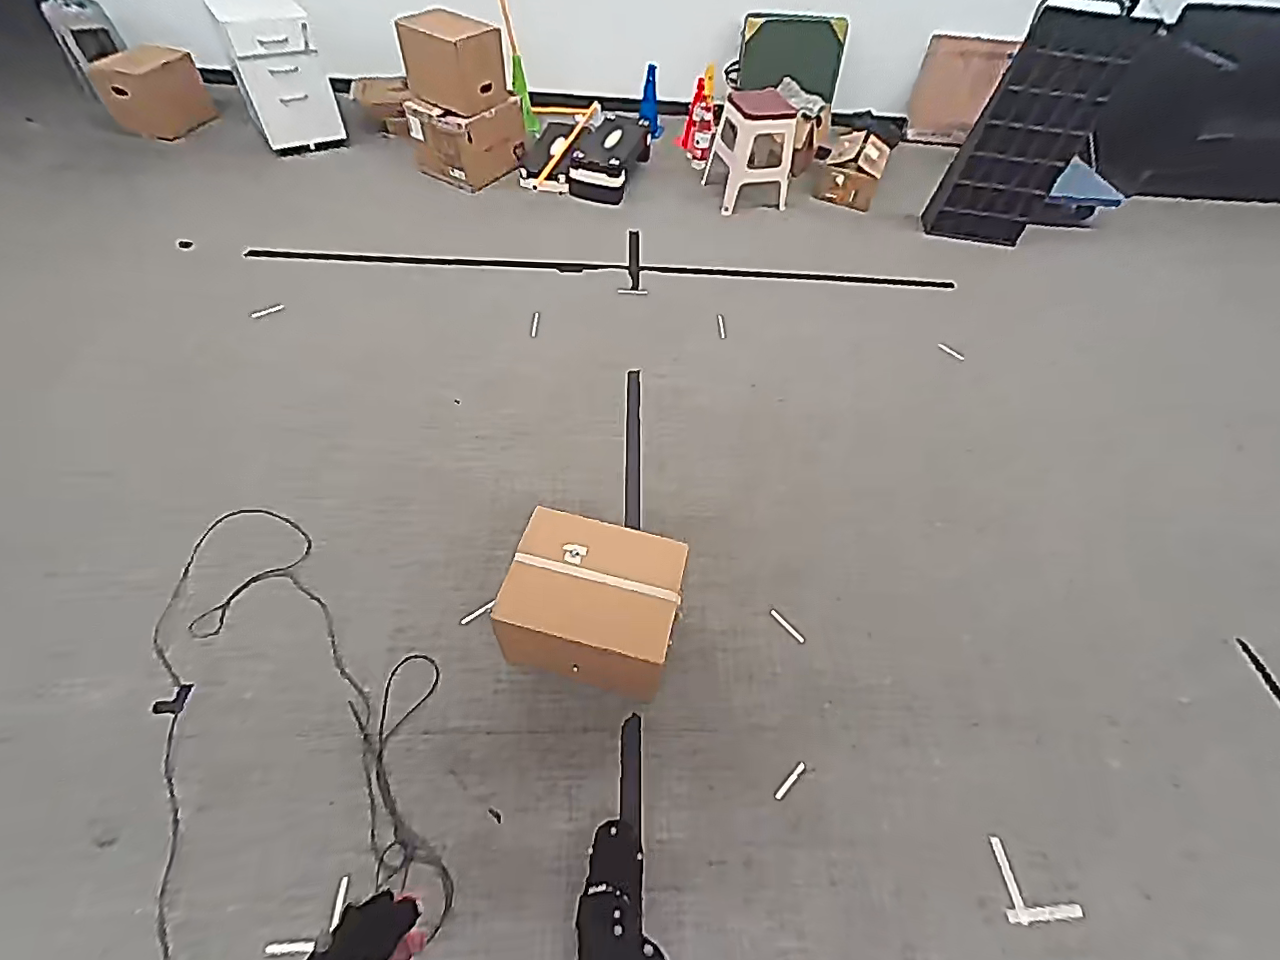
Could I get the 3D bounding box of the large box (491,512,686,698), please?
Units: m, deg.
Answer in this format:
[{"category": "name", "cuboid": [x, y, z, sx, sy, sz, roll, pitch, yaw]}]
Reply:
[{"category": "large box", "cuboid": [-0.116, 0.329, 1.400, 0.408, 0.320, 0.320, 13, 53, 5]}]
